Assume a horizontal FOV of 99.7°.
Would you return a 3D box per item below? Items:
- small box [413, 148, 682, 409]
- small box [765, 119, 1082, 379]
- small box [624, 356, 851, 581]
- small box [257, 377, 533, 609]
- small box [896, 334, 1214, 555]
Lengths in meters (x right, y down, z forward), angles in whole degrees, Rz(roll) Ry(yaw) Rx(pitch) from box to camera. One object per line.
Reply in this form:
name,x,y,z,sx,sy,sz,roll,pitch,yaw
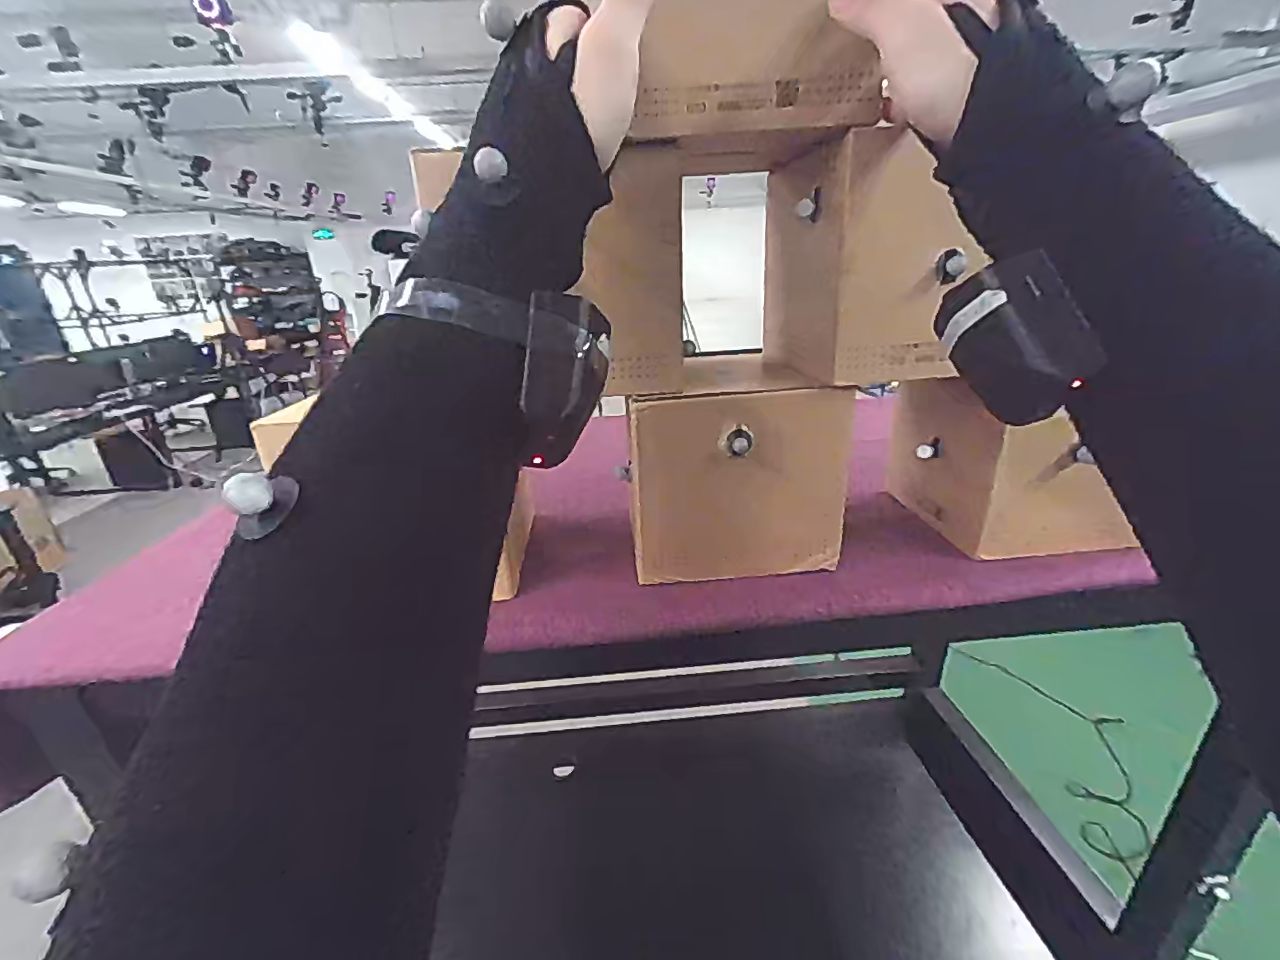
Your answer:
small box,-0.062,-0.162,0.452,0.179,0.176,0.168,-5,21,-4
small box,0.211,-0.181,0.457,0.168,0.176,0.179,-5,21,-3
small box,0.078,-0.017,0.511,0.179,0.176,0.168,-4,21,-2
small box,-0.195,0.005,0.494,0.168,0.176,0.179,-5,20,-4
small box,0.368,-0.039,0.521,0.179,0.176,0.168,-6,22,-3
